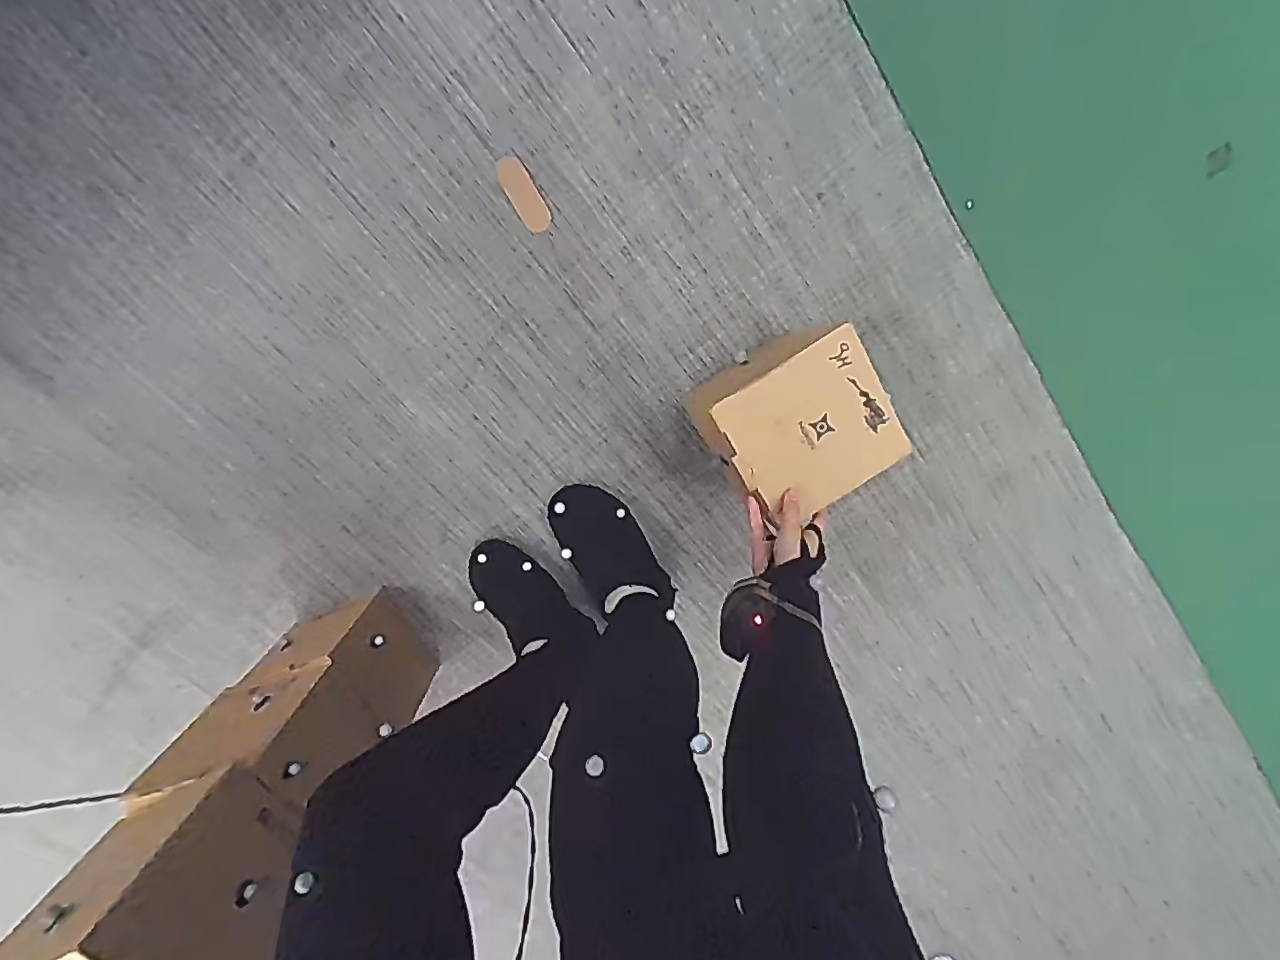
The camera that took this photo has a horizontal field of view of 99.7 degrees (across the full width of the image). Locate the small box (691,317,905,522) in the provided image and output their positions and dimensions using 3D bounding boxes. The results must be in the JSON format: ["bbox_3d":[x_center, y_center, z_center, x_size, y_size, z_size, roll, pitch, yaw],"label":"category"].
[{"bbox_3d":[0.176,-0.080,0.664,0.179,0.176,0.168,-31,106,3],"label":"small box"}]

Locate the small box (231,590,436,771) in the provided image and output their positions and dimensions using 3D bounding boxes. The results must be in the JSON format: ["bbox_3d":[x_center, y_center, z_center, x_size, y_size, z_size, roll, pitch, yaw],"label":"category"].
[{"bbox_3d":[-0.443,0.288,0.814,0.168,0.176,0.179,-21,111,8],"label":"small box"}]

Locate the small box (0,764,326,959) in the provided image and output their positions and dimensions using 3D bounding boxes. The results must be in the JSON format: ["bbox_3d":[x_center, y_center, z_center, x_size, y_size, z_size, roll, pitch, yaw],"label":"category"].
[{"bbox_3d":[-0.438,0.409,0.511,0.179,0.176,0.168,-28,108,11],"label":"small box"}]
